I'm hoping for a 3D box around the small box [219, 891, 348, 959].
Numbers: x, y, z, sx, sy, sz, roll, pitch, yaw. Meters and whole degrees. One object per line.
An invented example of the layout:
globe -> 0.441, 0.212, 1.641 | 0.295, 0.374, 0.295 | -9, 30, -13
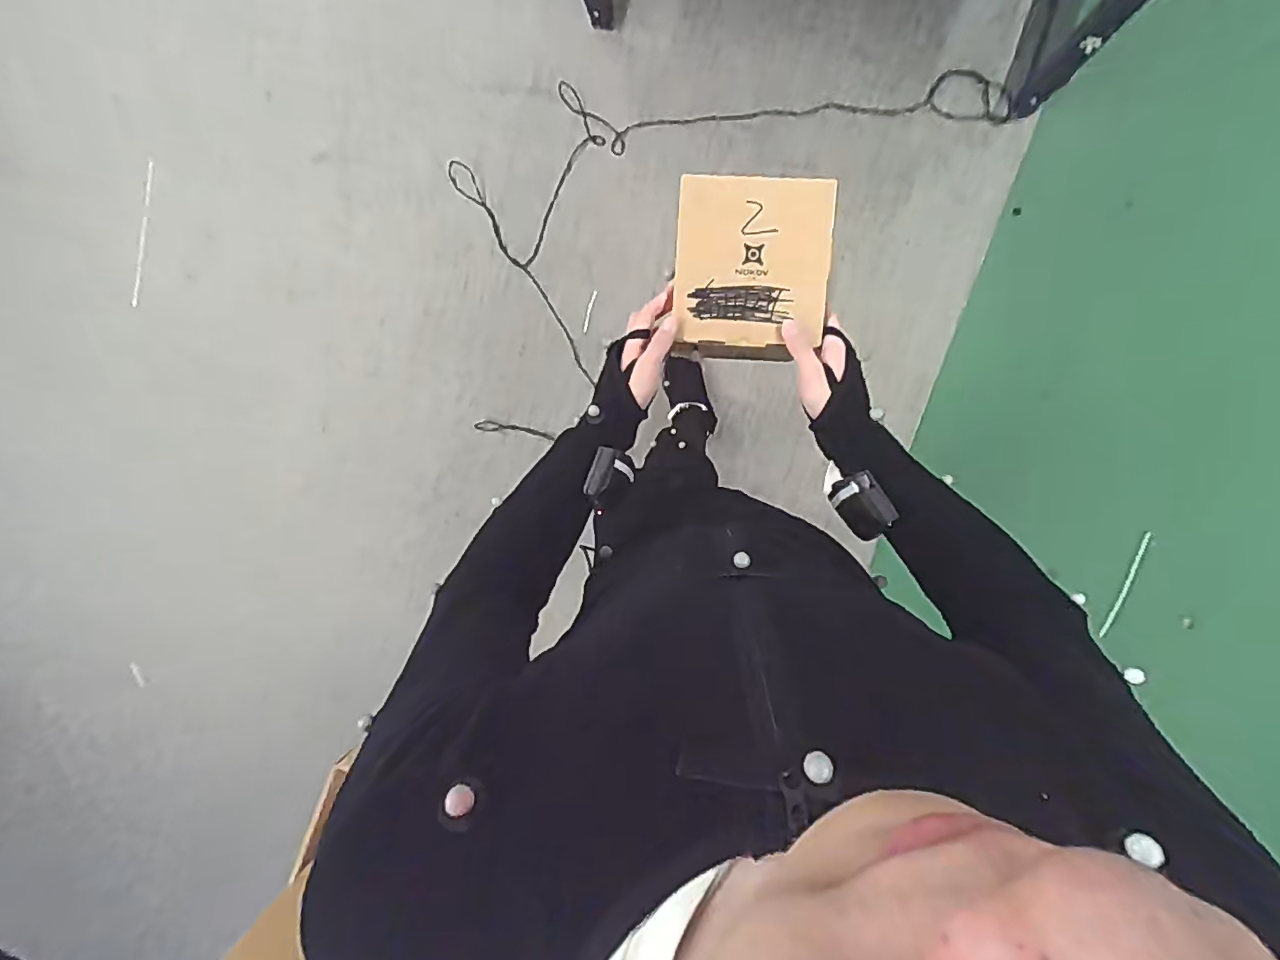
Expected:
small box -> -0.678, 0.924, 0.992 | 0.168, 0.176, 0.179 | 28, 99, 3
